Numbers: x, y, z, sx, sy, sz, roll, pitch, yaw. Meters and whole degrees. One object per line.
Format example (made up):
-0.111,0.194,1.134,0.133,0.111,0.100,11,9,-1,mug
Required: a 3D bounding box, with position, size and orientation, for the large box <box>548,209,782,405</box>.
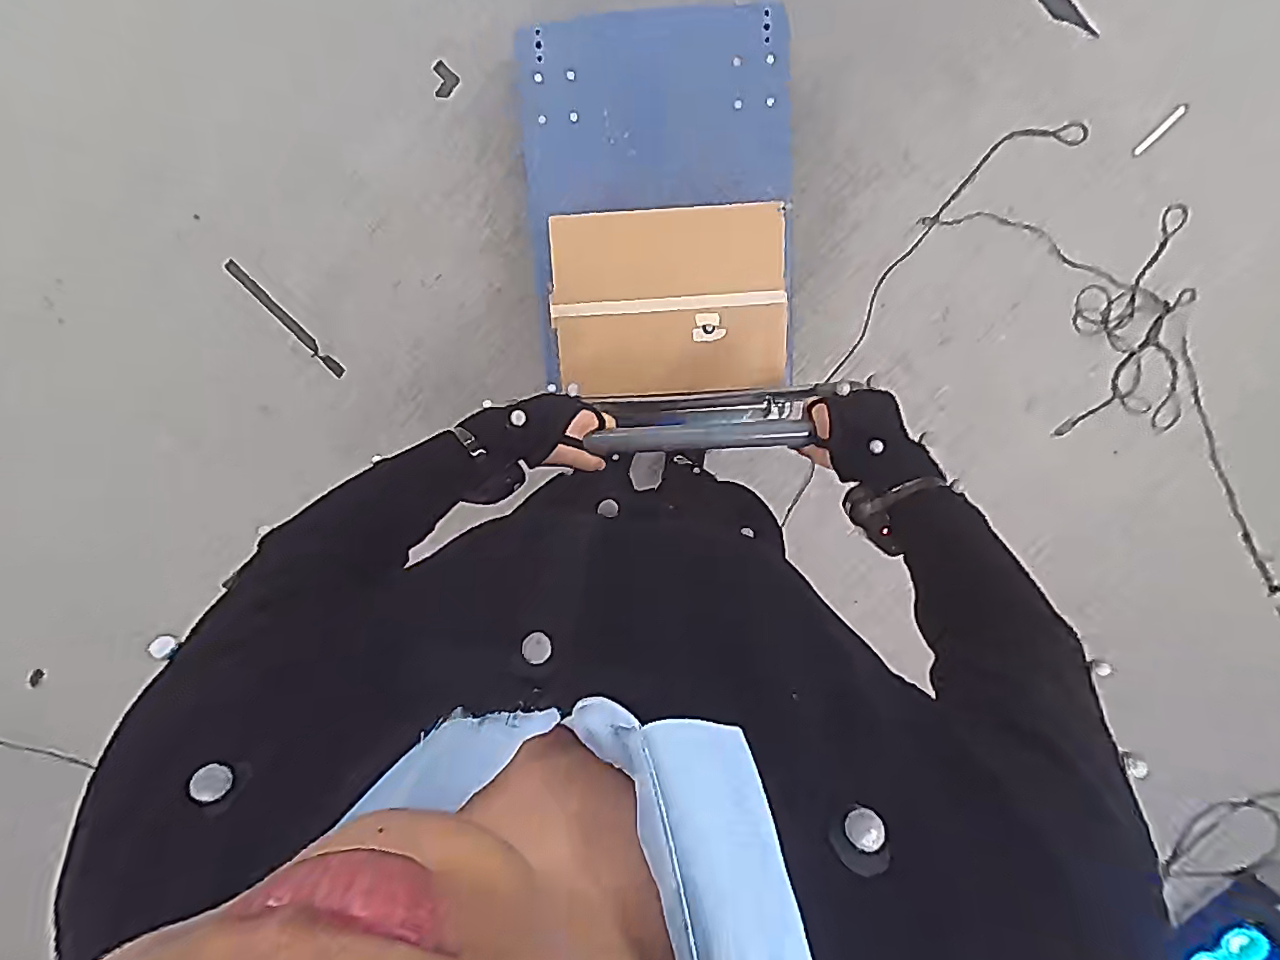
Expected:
0.048,-0.326,1.098,0.408,0.320,0.320,-3,101,1,large box
